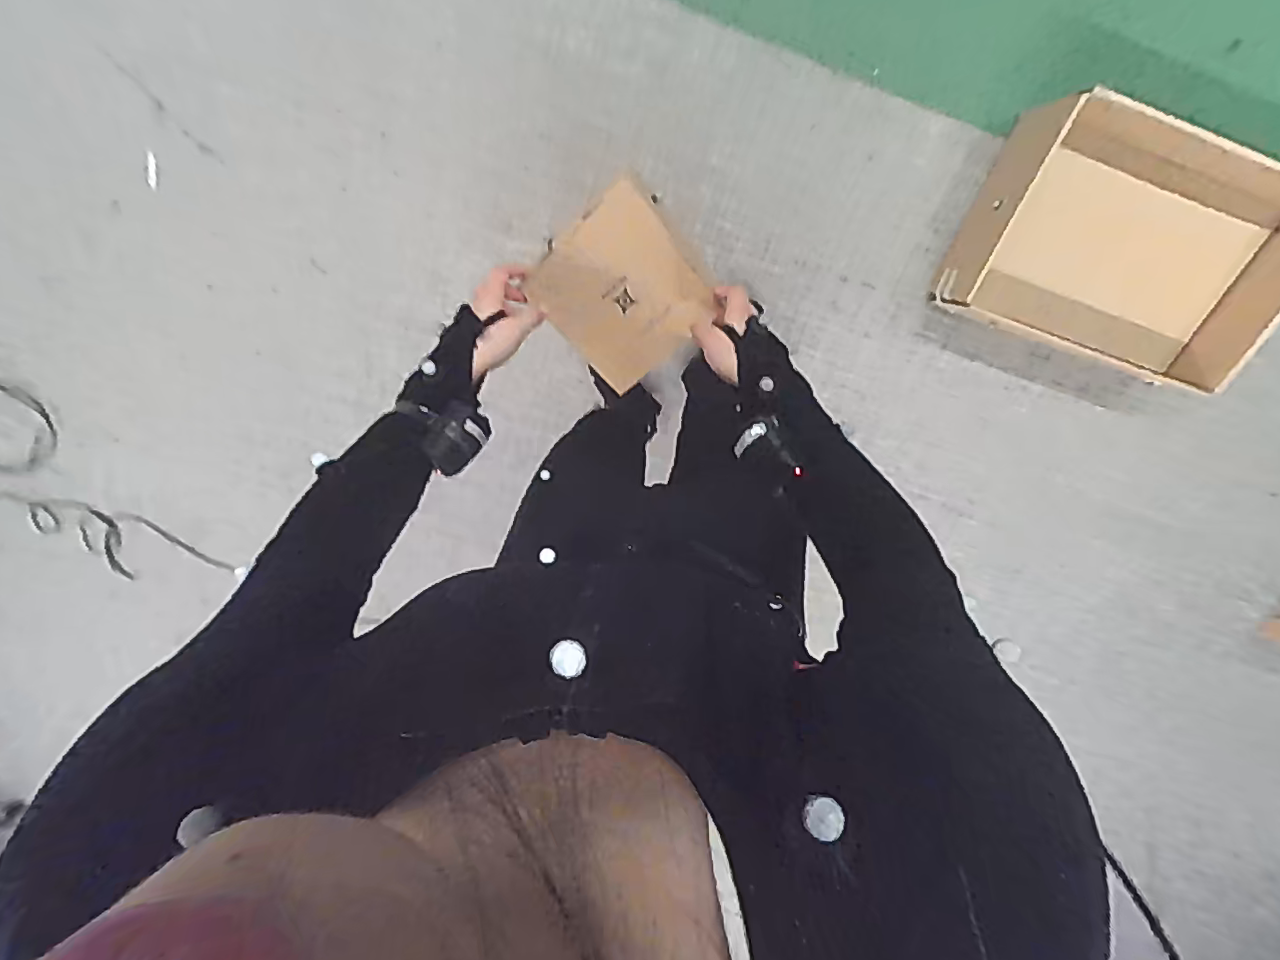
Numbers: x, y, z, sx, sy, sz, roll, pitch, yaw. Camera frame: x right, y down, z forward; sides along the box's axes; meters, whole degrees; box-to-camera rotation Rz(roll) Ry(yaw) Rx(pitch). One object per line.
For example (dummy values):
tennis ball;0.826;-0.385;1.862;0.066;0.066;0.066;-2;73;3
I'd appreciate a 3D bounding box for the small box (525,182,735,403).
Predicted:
small box;-0.010;-0.234;0.658;0.168;0.176;0.179;-35;118;22

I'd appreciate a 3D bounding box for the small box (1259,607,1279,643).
small box;1.960;0.440;1.532;0.179;0.176;0.168;22;113;-8
